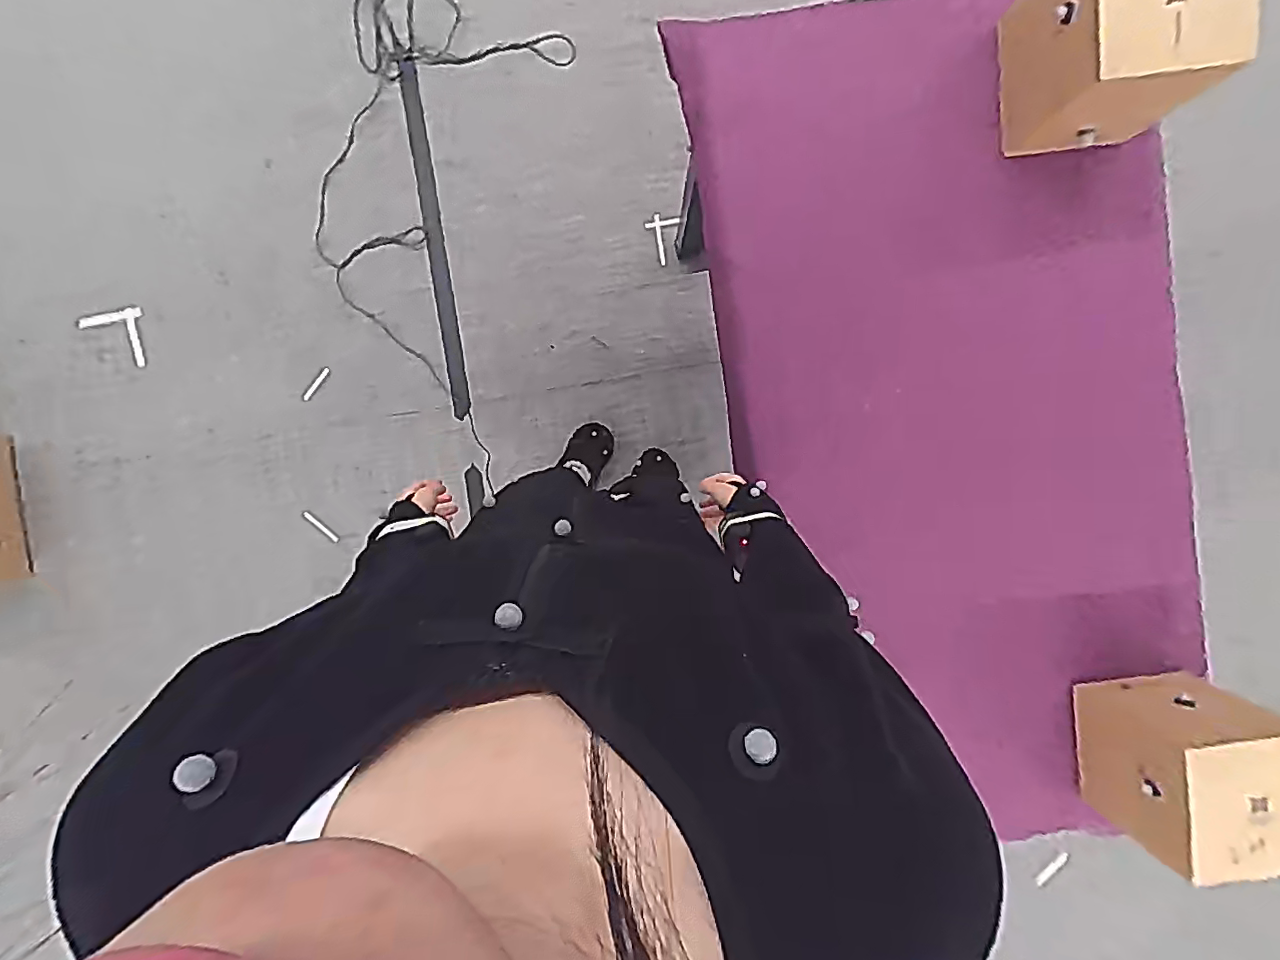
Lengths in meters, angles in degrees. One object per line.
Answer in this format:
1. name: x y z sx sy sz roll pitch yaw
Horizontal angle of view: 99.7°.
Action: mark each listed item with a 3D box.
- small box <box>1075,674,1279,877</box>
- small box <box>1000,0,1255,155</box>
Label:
1. small box: 0.726 0.376 0.722 0.168 0.176 0.179 -7 95 1
2. small box: 0.570 -0.532 0.655 0.168 0.176 0.179 -6 96 2
